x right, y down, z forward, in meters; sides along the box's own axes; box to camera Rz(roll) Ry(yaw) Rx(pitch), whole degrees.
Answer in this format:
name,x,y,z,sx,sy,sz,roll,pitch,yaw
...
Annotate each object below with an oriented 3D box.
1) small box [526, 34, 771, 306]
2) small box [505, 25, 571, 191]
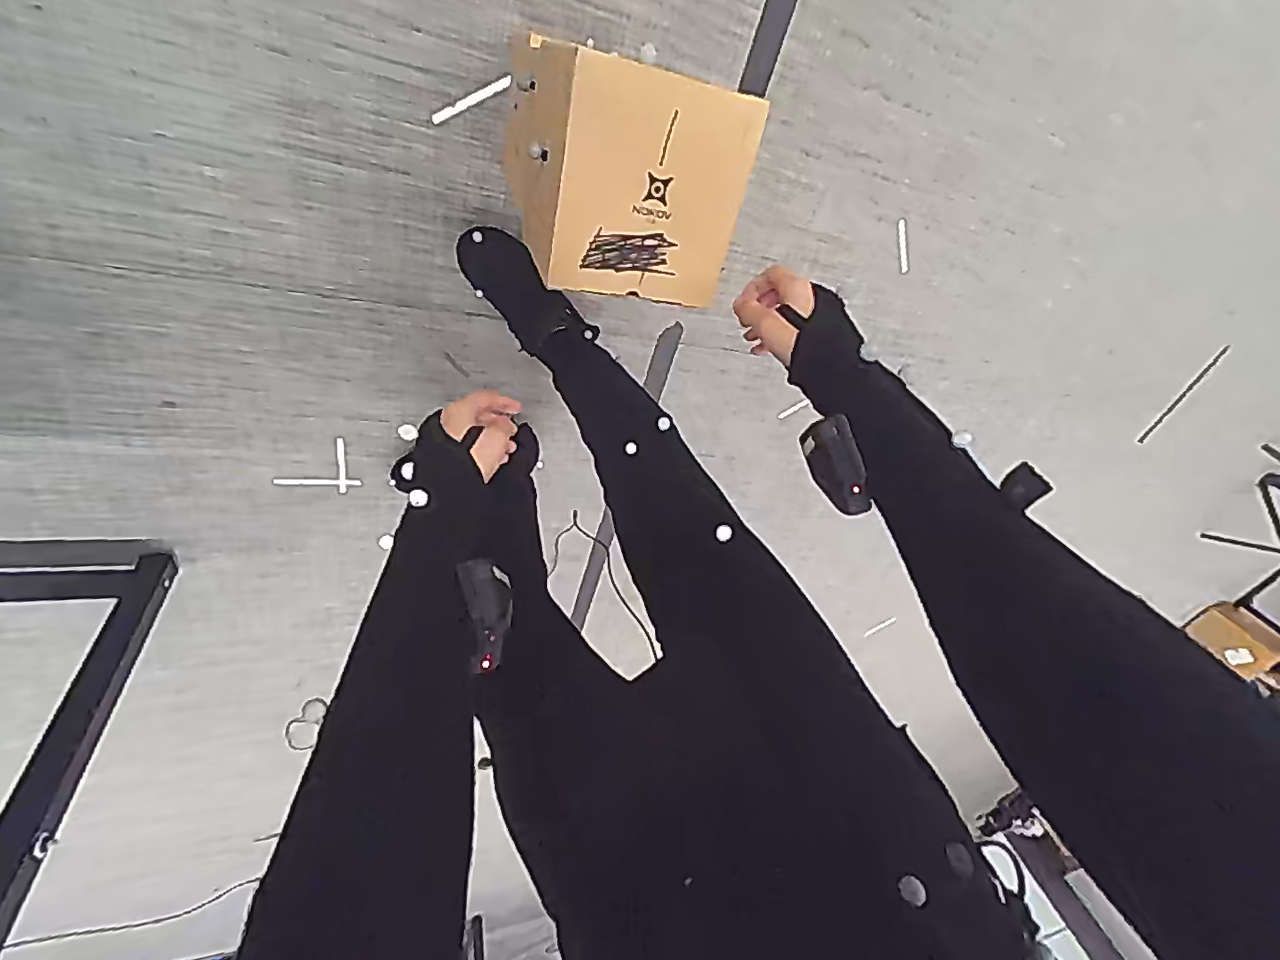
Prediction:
name,x,y,z,sx,sy,sz,roll,pitch,yaw
small box,-0.010,-0.290,0.513,0.168,0.176,0.179,0,128,-22
small box,-0.091,-0.500,0.754,0.168,0.176,0.179,2,129,-22
